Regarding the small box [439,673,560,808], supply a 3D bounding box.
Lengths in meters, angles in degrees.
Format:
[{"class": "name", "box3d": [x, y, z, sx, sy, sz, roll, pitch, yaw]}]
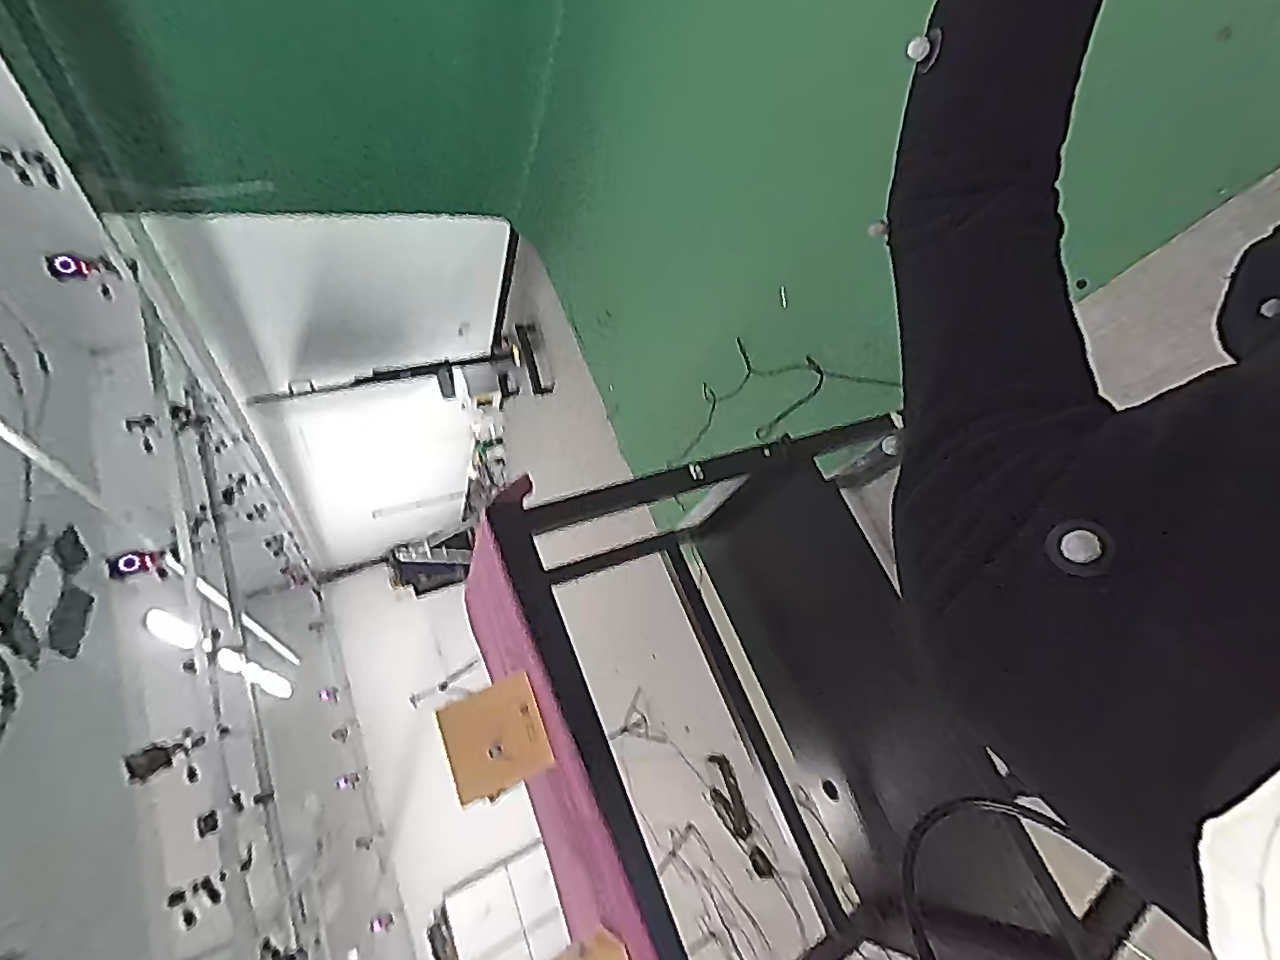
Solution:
[{"class": "small box", "box3d": [-0.262, 0.472, 1.001, 0.168, 0.176, 0.179, 67, 153, 15]}]

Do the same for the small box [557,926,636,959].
[{"class": "small box", "box3d": [-0.068, 0.830, 0.812, 0.179, 0.176, 0.168, 64, 151, 21]}]
